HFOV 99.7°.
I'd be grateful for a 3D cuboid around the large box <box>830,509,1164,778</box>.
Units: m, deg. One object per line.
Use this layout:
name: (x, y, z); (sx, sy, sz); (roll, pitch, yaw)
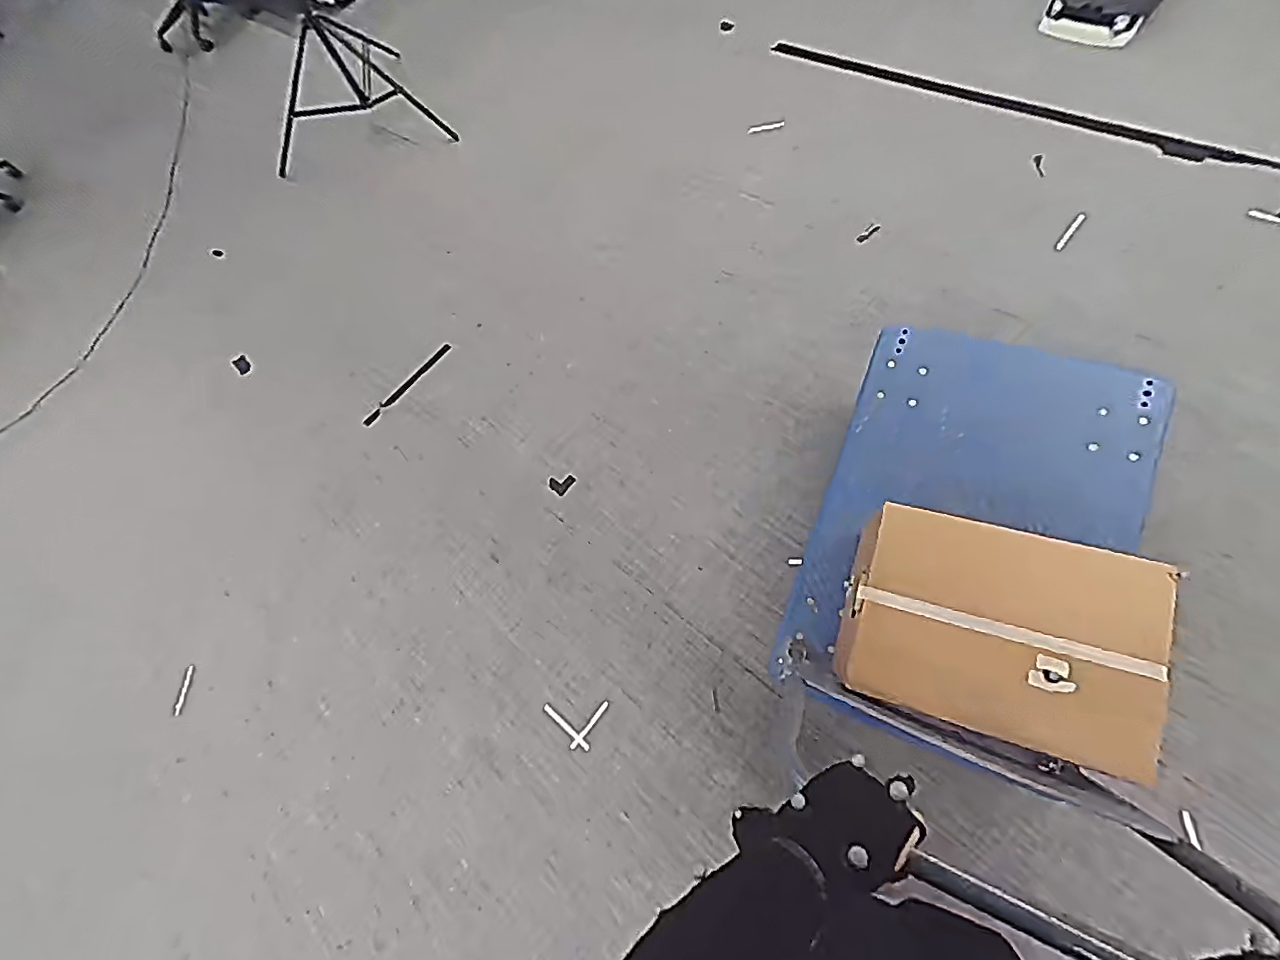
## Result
large box: (0.588, 0.267, 0.974); (0.408, 0.320, 0.320); (14, 81, 18)
